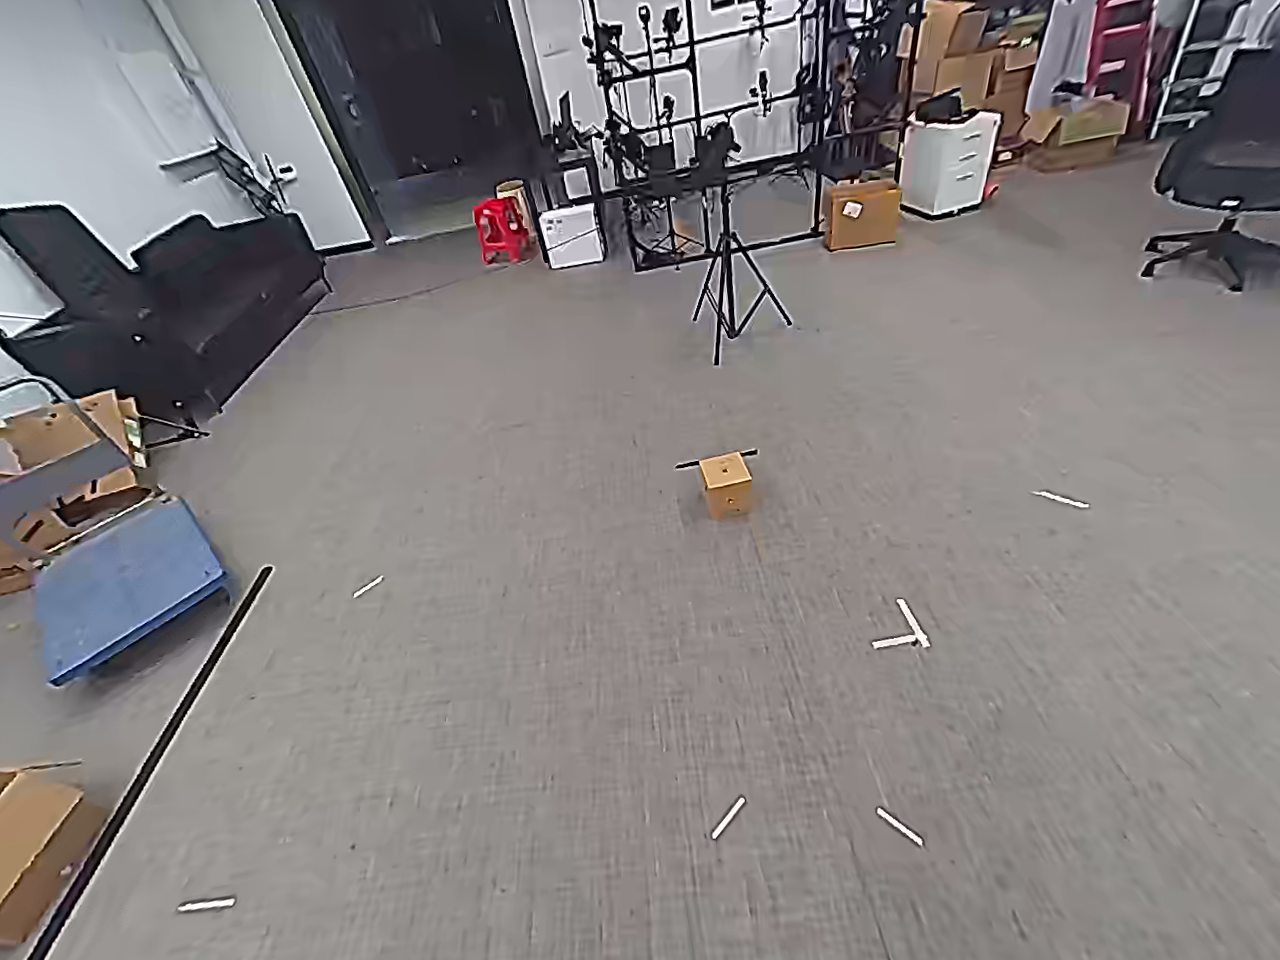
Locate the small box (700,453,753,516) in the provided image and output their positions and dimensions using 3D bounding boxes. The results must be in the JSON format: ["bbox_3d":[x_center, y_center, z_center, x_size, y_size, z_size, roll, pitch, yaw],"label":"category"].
[{"bbox_3d":[0.342,0.025,2.122,0.168,0.176,0.179,-12,40,0],"label":"small box"}]
